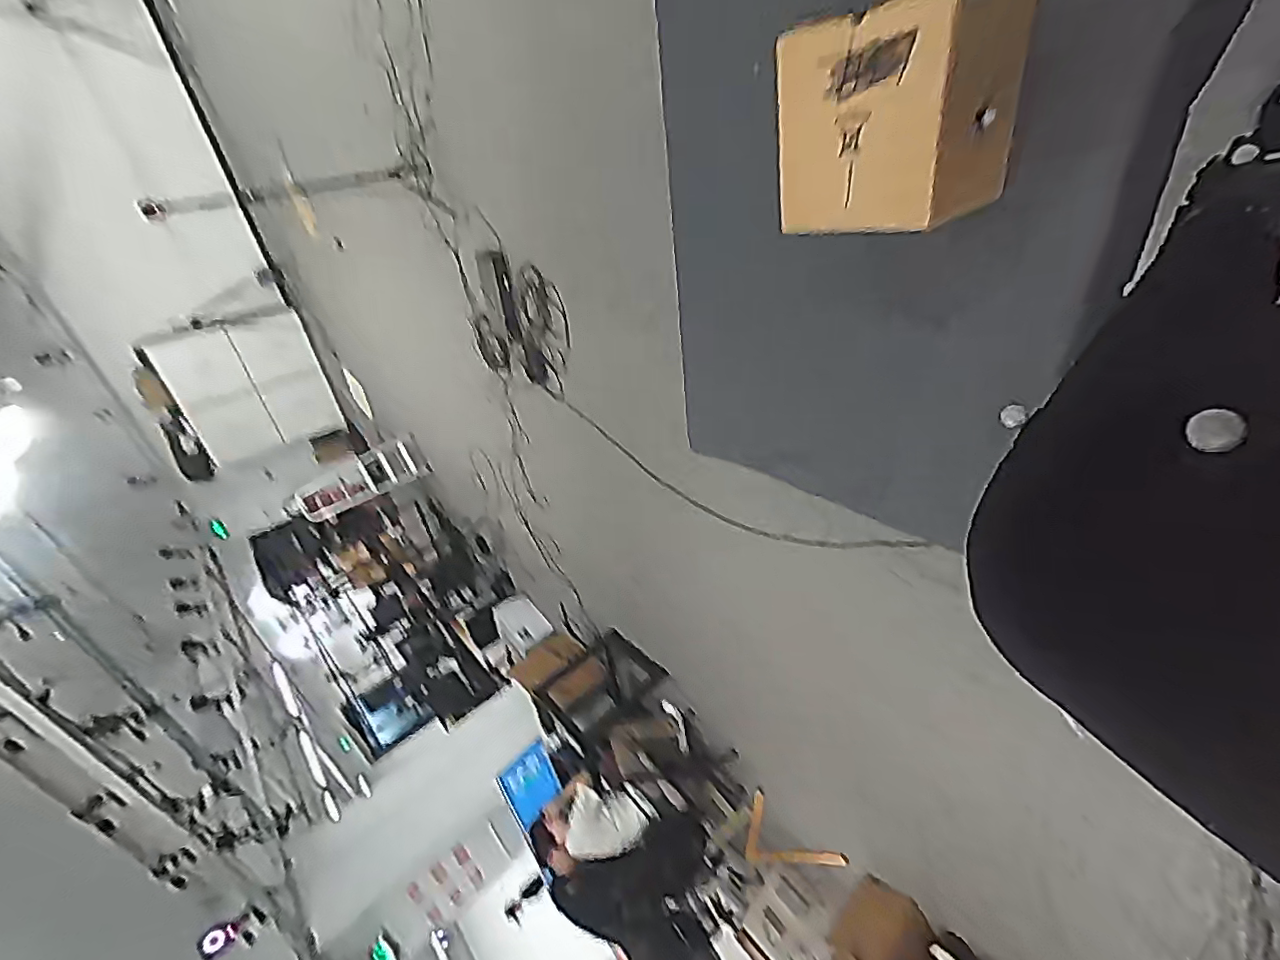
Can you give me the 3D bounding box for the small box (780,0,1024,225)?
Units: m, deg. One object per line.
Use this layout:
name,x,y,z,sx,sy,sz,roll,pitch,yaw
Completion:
small box,0.263,-0.374,0.555,0.168,0.176,0.179,25,136,44
